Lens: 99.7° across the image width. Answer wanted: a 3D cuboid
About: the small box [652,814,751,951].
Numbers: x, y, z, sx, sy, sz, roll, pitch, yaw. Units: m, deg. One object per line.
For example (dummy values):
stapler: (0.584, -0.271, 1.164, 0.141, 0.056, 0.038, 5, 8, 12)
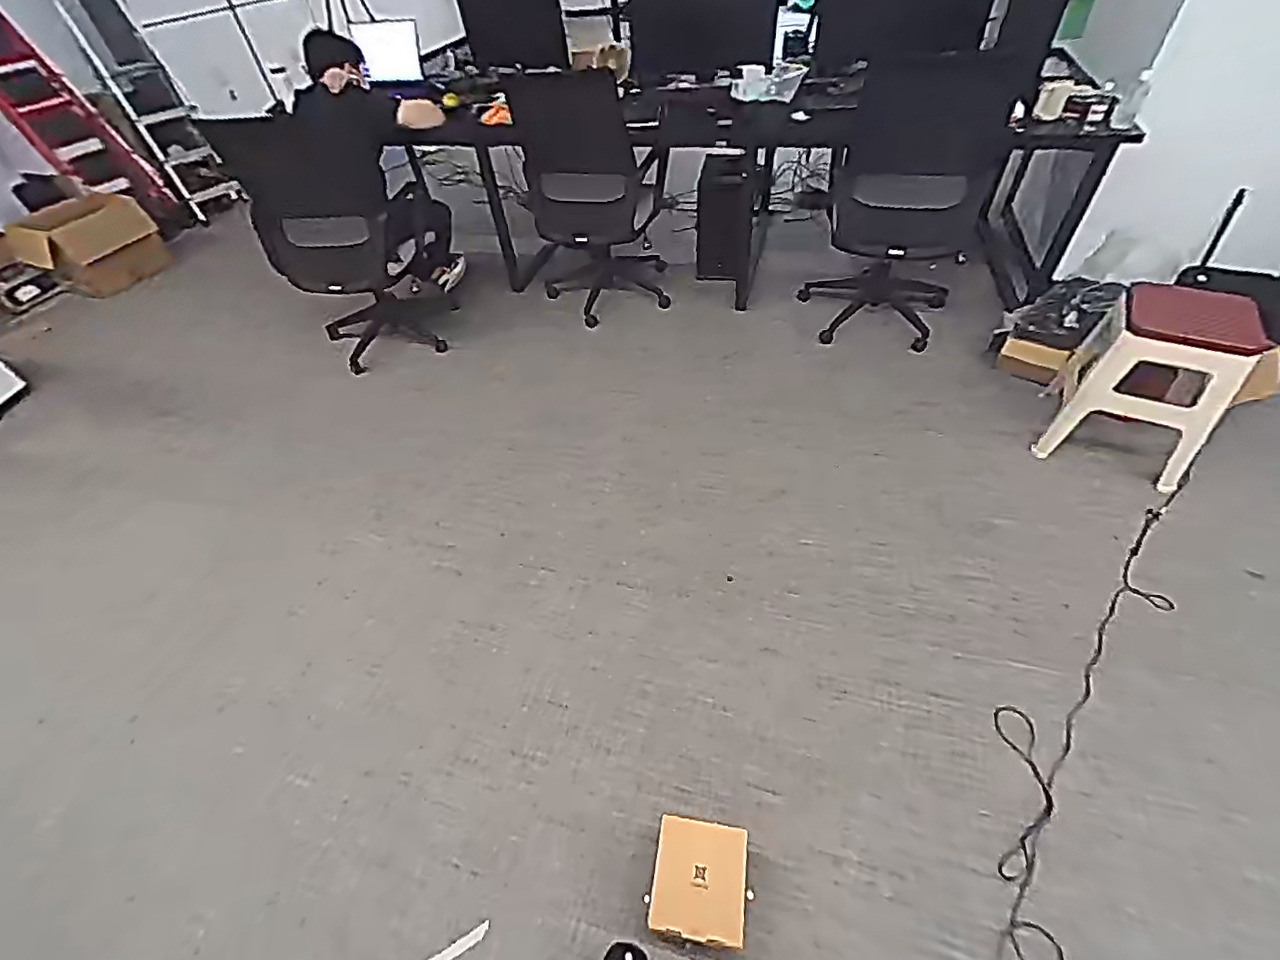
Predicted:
small box: (0.119, 0.769, 1.034, 0.168, 0.176, 0.179, 4, 49, 10)
